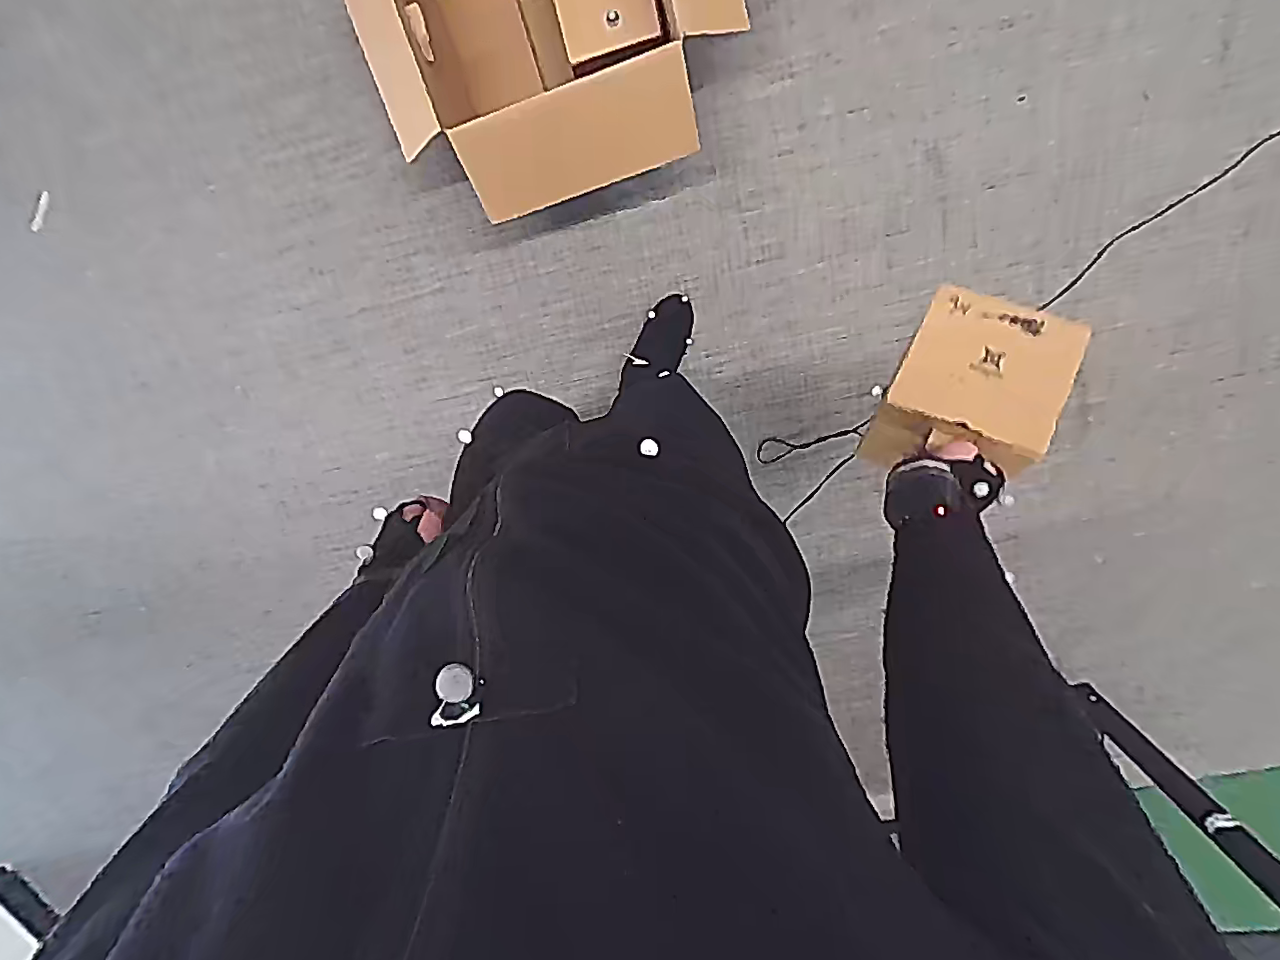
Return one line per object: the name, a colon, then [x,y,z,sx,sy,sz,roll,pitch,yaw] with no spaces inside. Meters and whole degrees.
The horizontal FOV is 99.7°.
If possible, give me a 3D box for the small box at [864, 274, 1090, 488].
small box: [0.397,-0.113,0.672,0.168,0.176,0.179,26,78,18]
